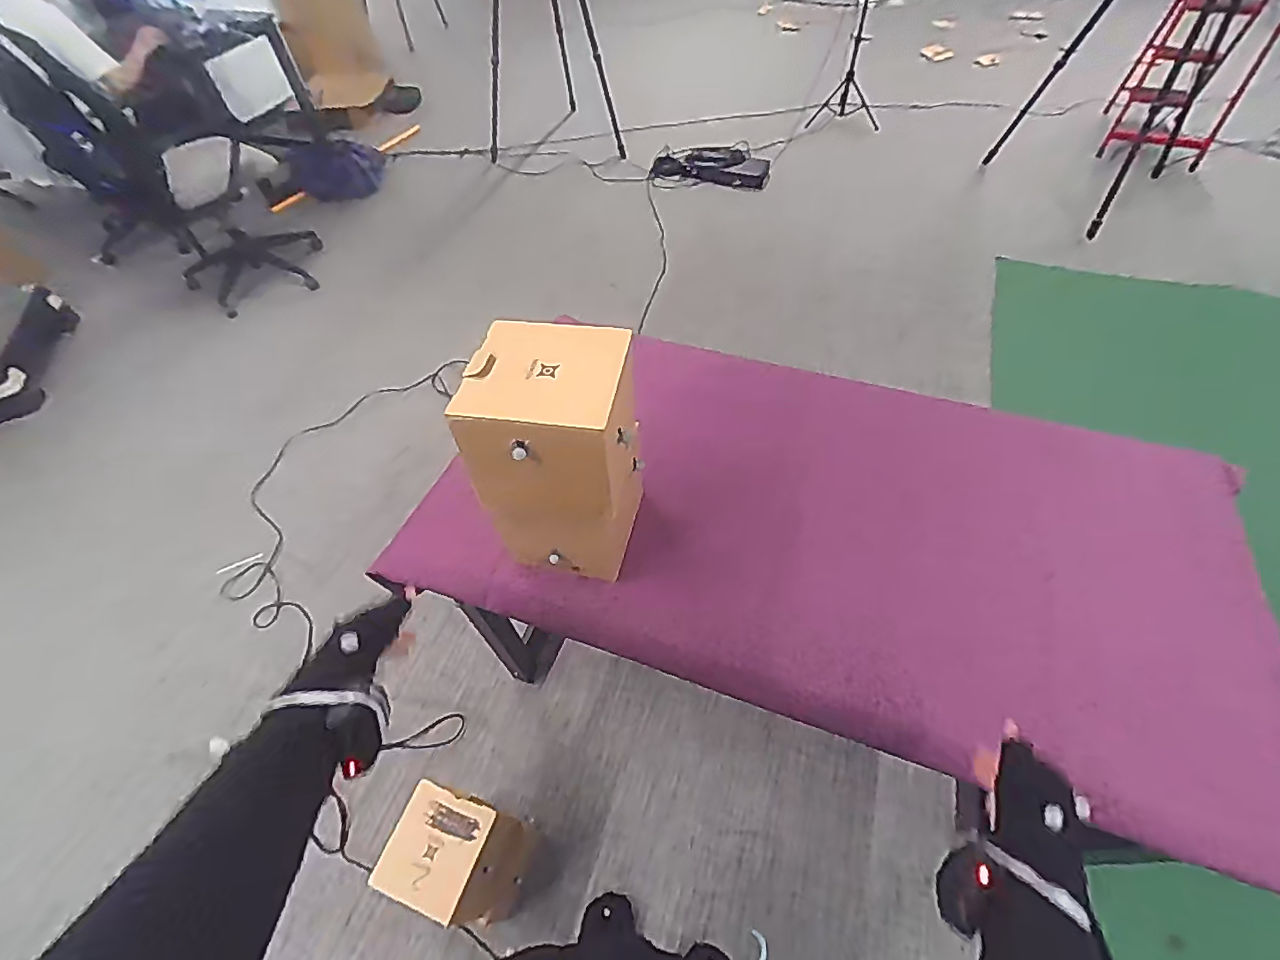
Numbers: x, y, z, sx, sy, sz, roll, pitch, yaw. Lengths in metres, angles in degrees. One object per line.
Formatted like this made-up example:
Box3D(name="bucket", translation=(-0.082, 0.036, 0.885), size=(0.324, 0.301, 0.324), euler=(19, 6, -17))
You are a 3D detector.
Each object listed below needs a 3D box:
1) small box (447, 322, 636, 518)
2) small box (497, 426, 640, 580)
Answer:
Box3D(name="small box", translation=(-0.103, -0.069, 0.667), size=(0.179, 0.176, 0.168), euler=(7, 53, 7))
Box3D(name="small box", translation=(-0.100, 0.021, 0.803), size=(0.168, 0.176, 0.179), euler=(11, 53, 10))
